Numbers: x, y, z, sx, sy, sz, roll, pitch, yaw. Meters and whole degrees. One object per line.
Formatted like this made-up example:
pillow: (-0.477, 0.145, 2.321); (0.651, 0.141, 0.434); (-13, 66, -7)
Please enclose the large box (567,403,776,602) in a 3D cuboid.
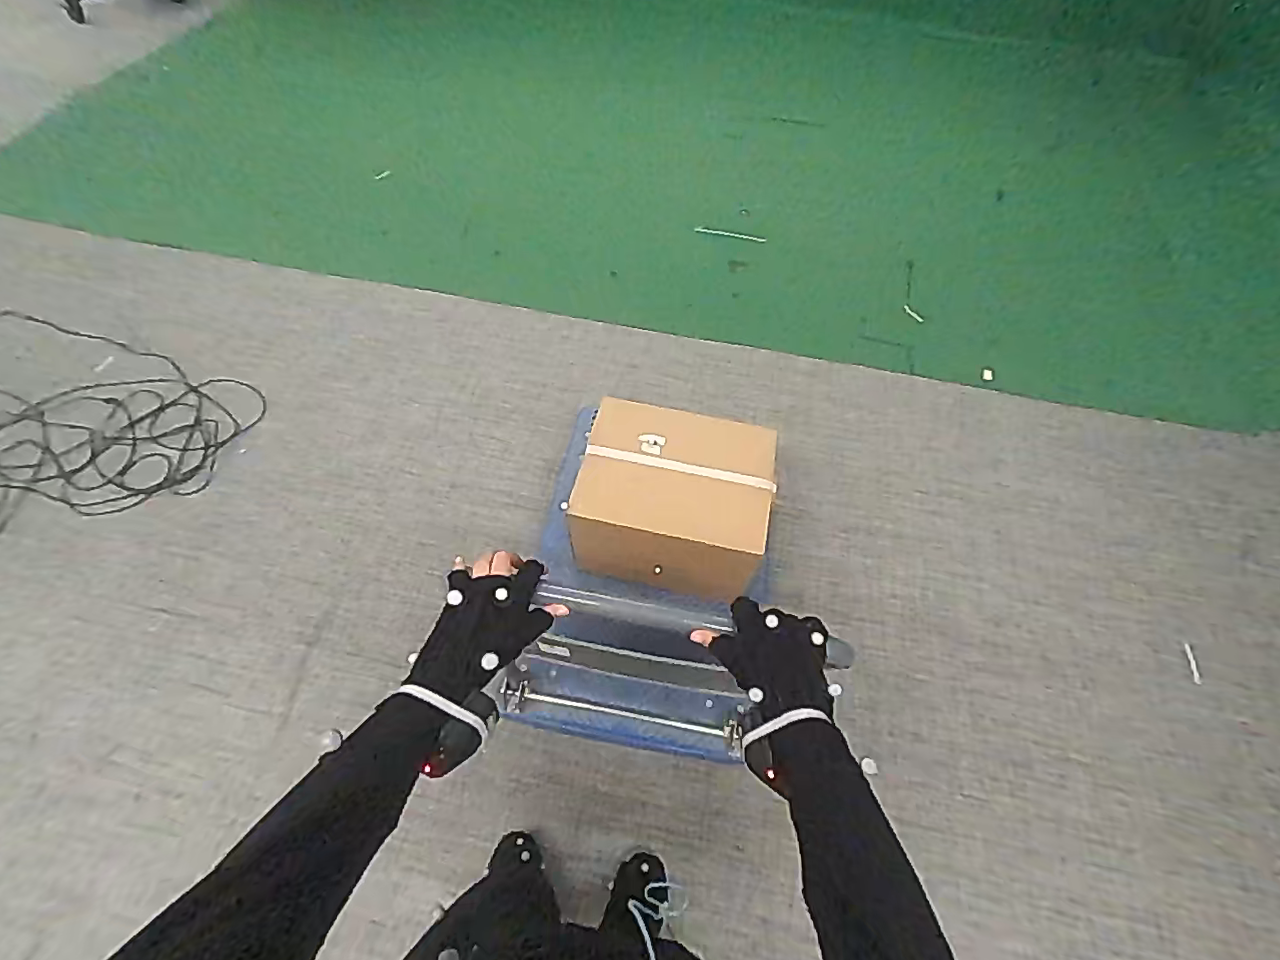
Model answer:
large box: (0.077, 0.062, 1.271); (0.408, 0.320, 0.320); (12, 59, 6)
